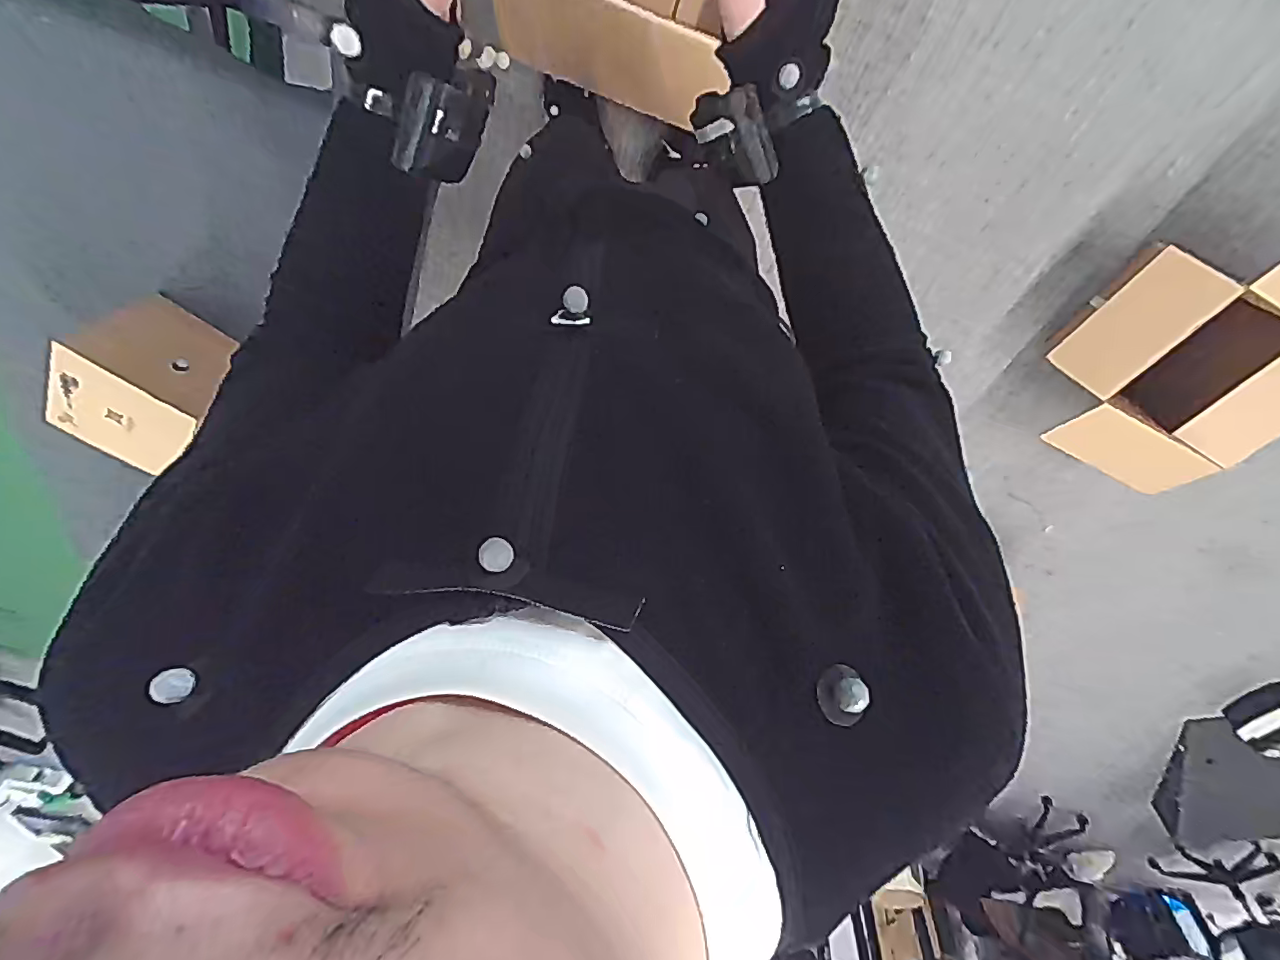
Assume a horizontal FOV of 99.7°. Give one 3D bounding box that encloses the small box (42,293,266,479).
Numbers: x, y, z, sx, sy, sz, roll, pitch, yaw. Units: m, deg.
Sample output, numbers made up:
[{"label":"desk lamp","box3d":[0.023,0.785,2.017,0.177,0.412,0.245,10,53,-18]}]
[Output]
[{"label":"small box","box3d":[-0.700,-0.141,0.794,0.179,0.176,0.168,36,124,-22]}]
